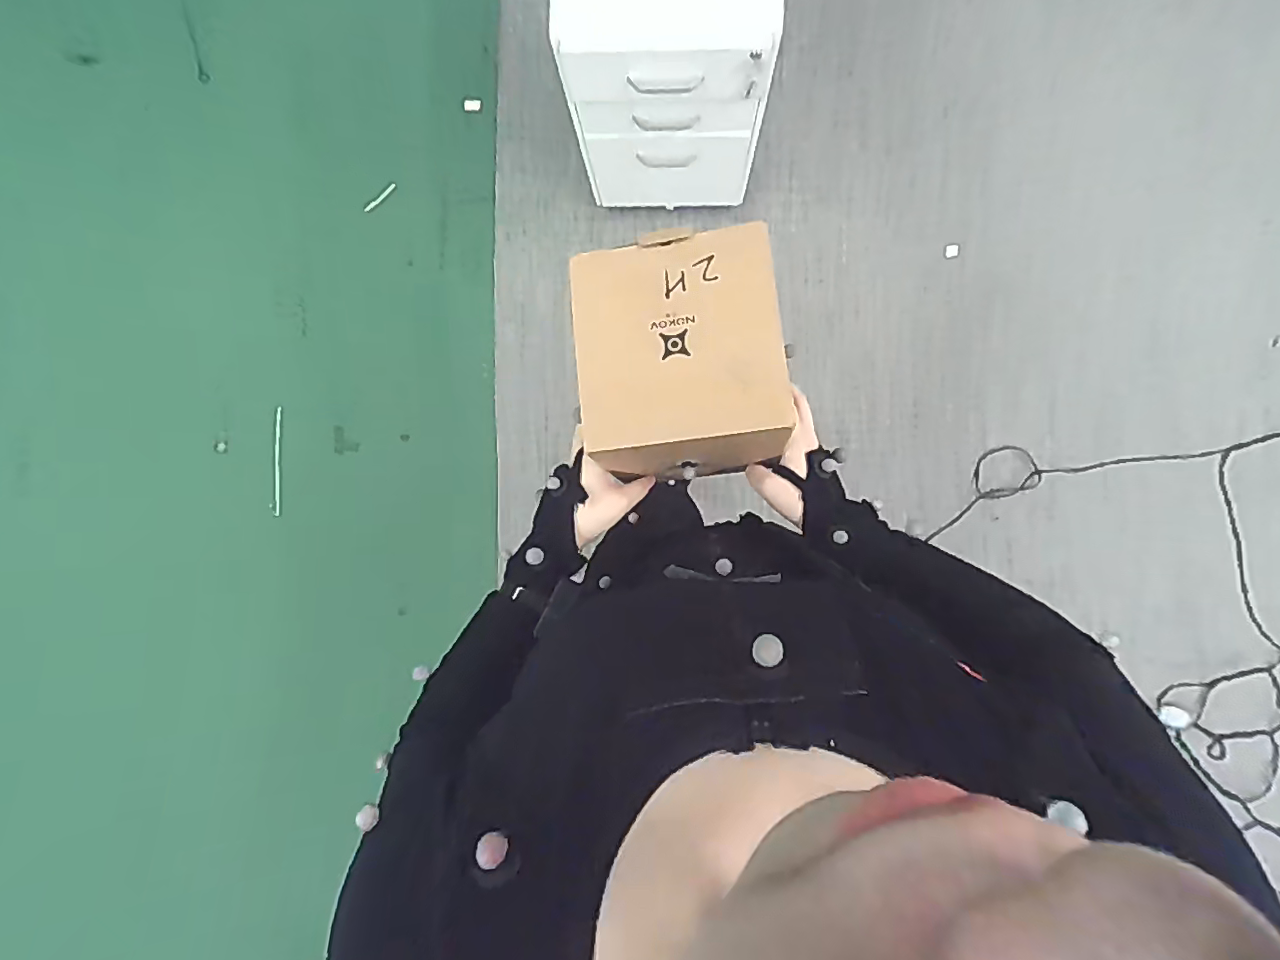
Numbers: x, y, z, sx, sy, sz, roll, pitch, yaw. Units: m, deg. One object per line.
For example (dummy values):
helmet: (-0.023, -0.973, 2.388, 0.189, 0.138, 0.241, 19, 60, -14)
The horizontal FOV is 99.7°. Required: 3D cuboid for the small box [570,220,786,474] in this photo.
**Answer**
small box: (0.039, -0.106, 0.512, 0.168, 0.176, 0.179, -6, 79, 8)
